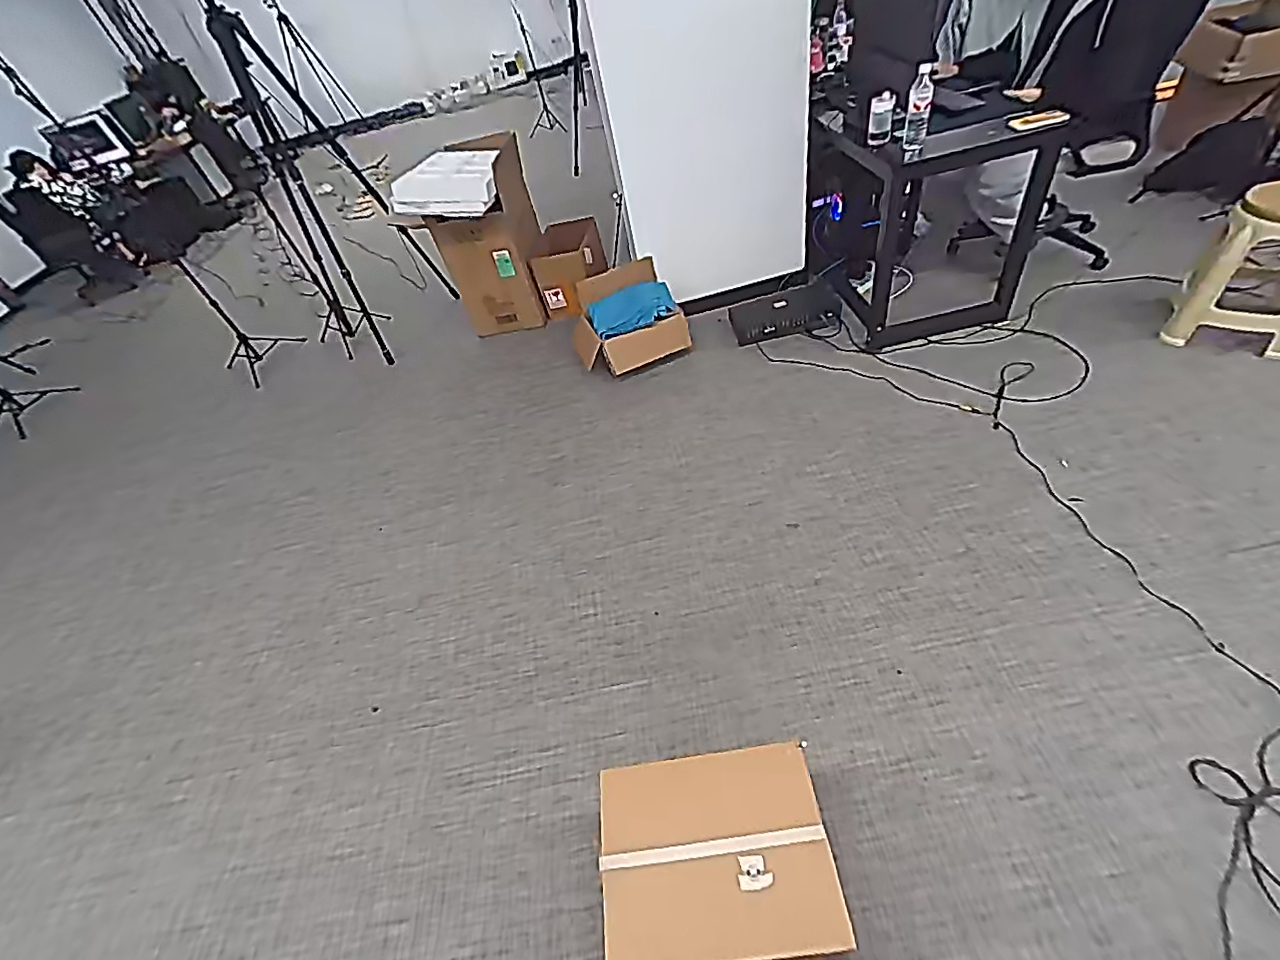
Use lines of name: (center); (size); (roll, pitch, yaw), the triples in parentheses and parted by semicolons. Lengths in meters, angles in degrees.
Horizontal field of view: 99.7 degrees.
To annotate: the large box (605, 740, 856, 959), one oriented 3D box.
large box: (0.162, 0.758, 1.073); (0.408, 0.320, 0.320); (-11, 46, 4)
